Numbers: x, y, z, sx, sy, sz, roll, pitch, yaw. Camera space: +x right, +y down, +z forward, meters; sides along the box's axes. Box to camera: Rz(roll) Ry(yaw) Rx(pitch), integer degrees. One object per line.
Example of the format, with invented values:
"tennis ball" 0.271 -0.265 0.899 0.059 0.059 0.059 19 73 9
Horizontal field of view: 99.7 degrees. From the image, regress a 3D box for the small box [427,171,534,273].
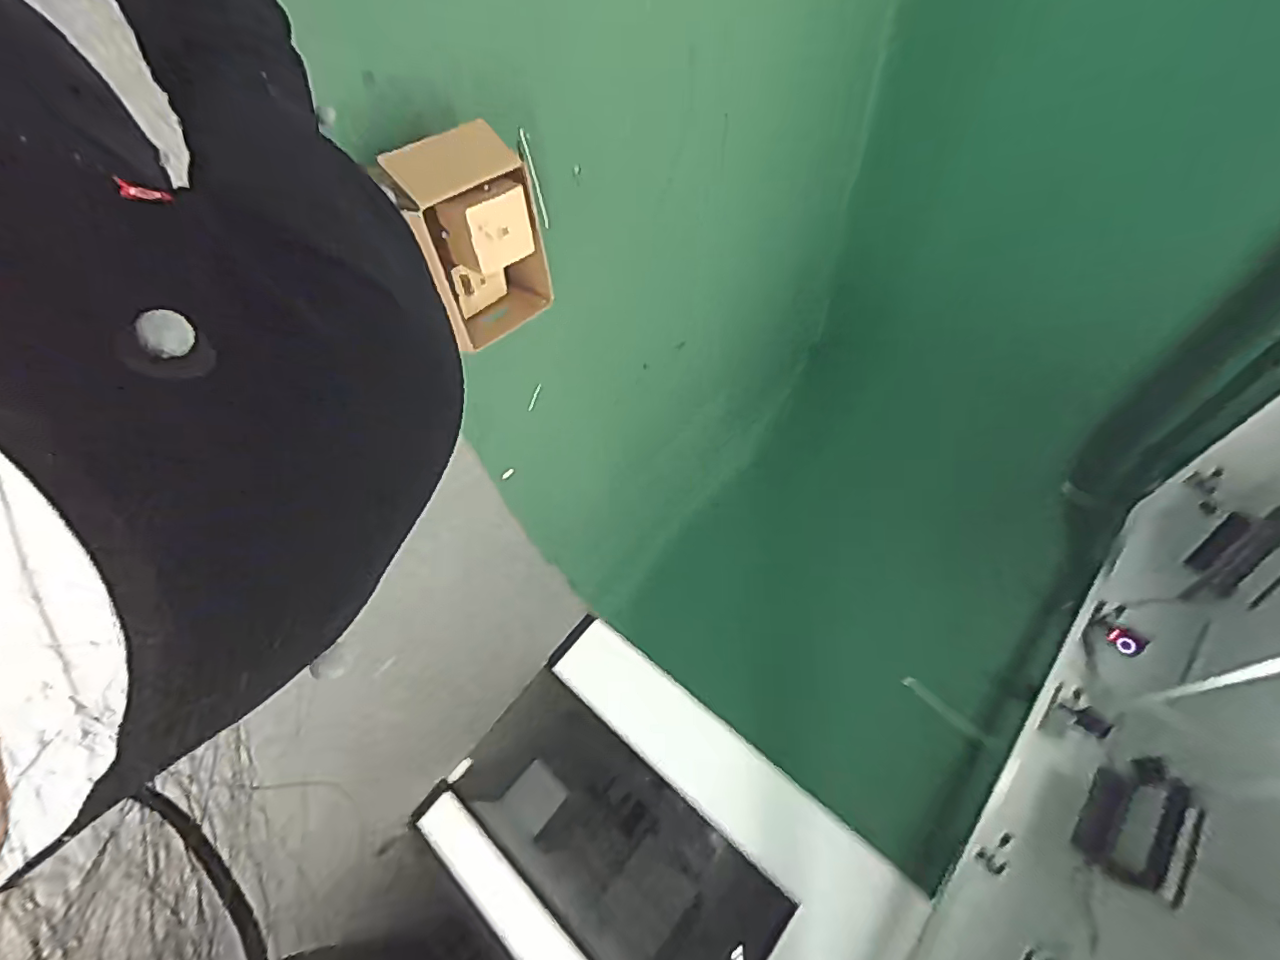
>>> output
"small box" -0.400 -0.659 1.369 0.179 0.176 0.168 -42 149 -28
